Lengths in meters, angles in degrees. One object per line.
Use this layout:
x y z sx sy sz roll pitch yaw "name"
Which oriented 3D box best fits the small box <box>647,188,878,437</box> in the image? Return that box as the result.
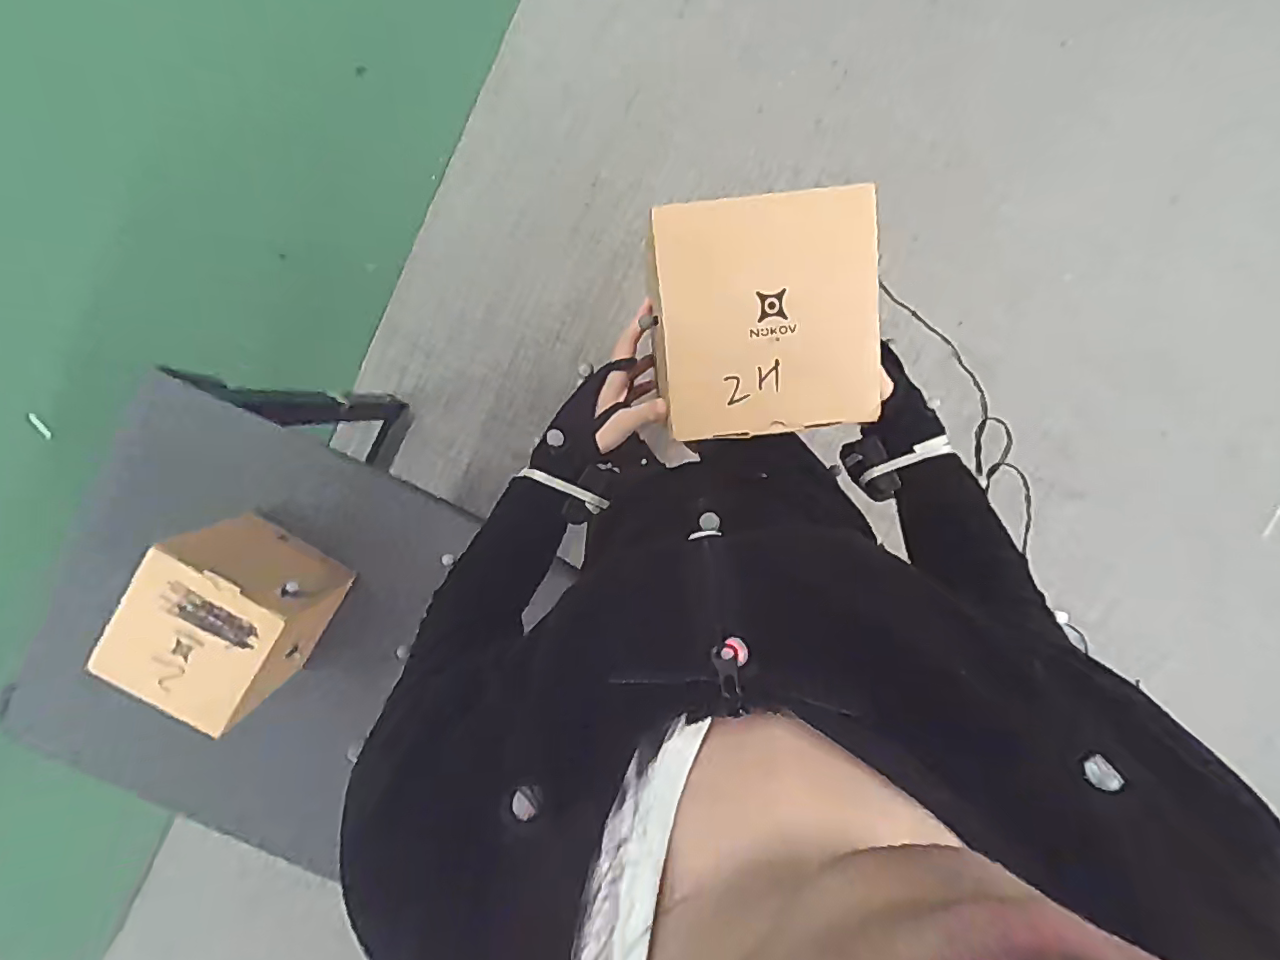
0.097 -0.138 0.490 0.168 0.176 0.179 -5 101 0 "small box"
